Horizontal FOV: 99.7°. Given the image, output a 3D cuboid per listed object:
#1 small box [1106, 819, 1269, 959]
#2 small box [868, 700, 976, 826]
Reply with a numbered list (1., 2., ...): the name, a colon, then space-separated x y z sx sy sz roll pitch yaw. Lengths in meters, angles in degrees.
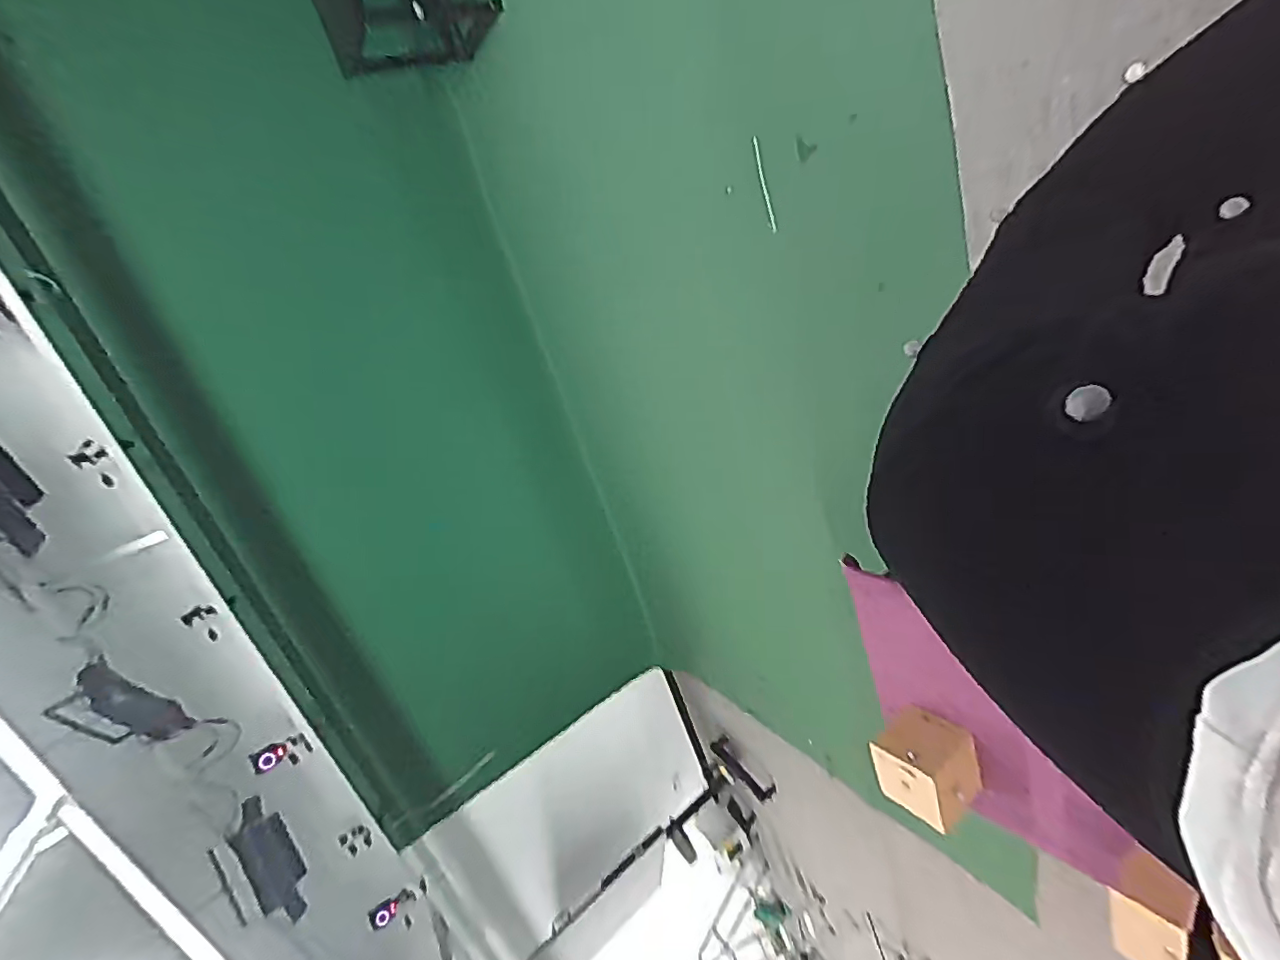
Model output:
1. small box: 0.952 0.753 0.943 0.168 0.176 0.179 12 125 57
2. small box: 0.701 0.690 1.338 0.168 0.176 0.179 10 125 58
